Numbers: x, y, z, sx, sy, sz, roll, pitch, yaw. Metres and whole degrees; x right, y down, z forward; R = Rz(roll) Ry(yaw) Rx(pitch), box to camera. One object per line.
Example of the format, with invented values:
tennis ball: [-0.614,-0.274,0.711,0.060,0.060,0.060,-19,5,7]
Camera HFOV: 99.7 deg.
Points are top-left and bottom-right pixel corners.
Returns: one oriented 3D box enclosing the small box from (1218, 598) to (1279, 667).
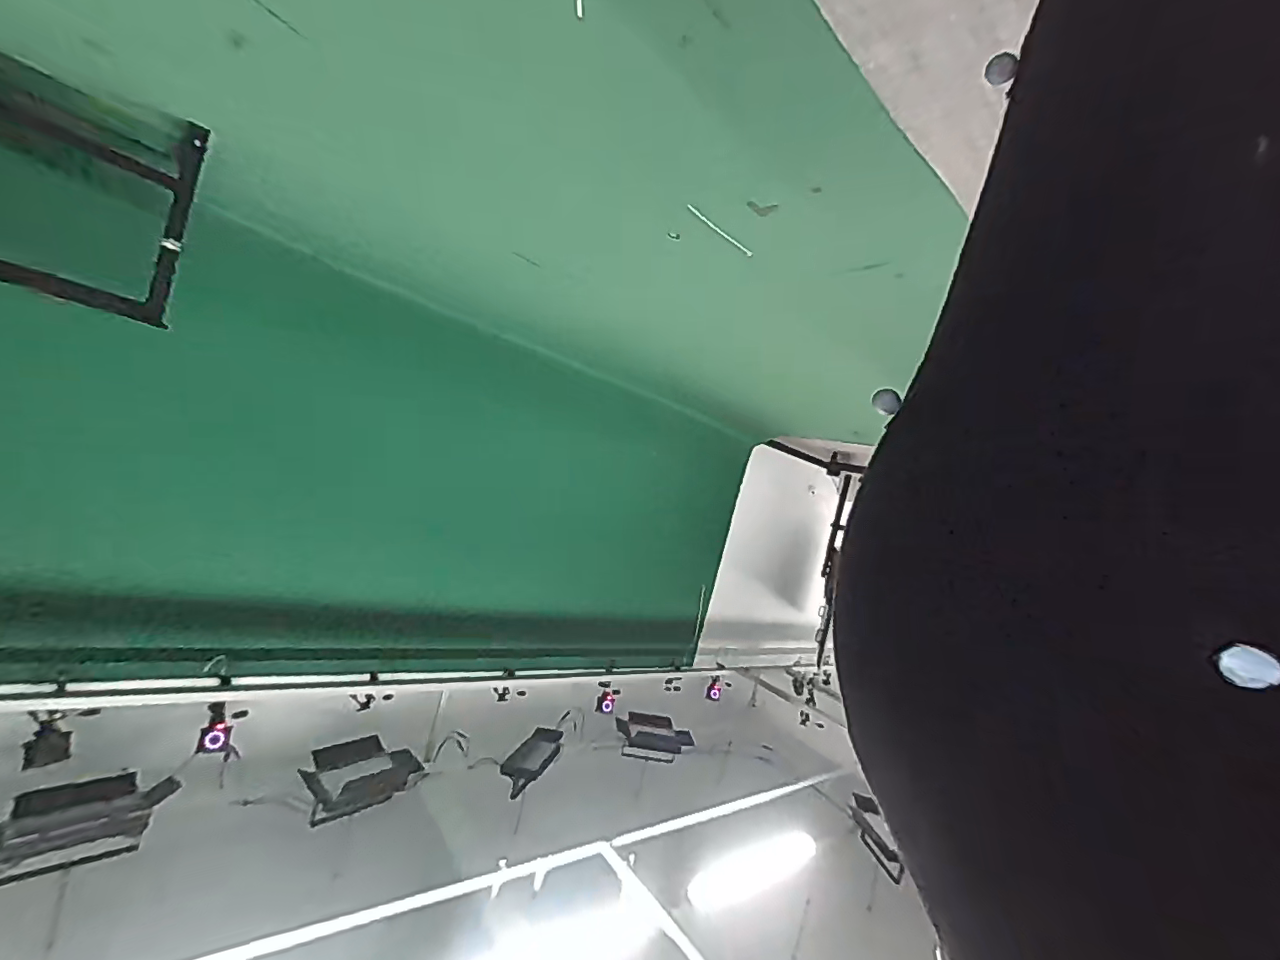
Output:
small box: [1.931,0.474,1.674,0.179,0.176,0.168,16,179,-41]
